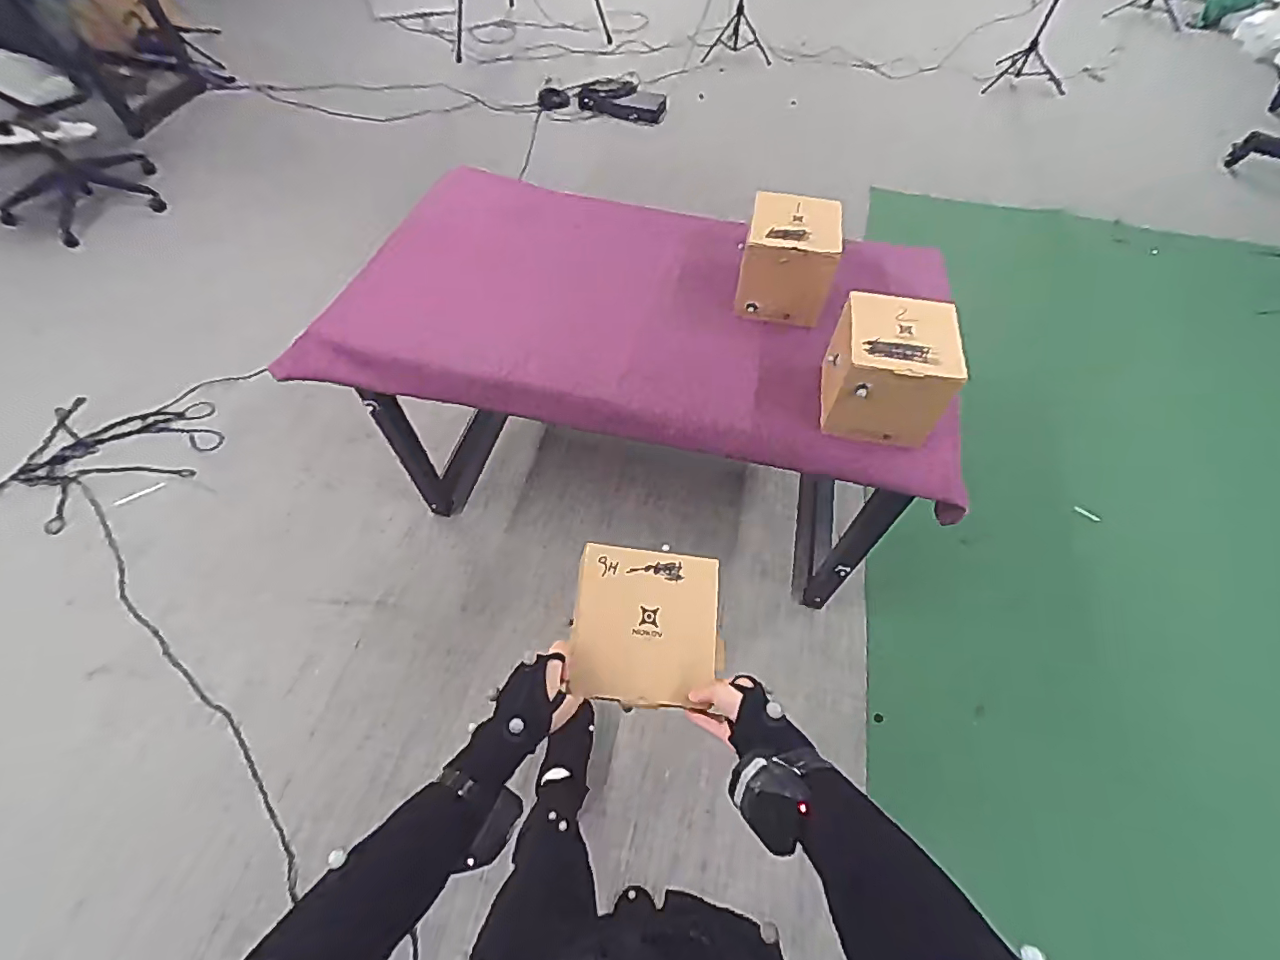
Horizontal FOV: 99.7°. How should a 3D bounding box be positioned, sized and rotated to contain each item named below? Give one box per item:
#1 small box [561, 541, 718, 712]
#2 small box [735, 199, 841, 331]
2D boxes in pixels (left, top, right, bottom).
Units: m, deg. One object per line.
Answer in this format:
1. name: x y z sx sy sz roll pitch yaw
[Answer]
1. small box: -0.007 0.189 0.699 0.168 0.176 0.179 9 71 -7
2. small box: 0.285 -0.419 1.064 0.168 0.176 0.179 11 56 6
